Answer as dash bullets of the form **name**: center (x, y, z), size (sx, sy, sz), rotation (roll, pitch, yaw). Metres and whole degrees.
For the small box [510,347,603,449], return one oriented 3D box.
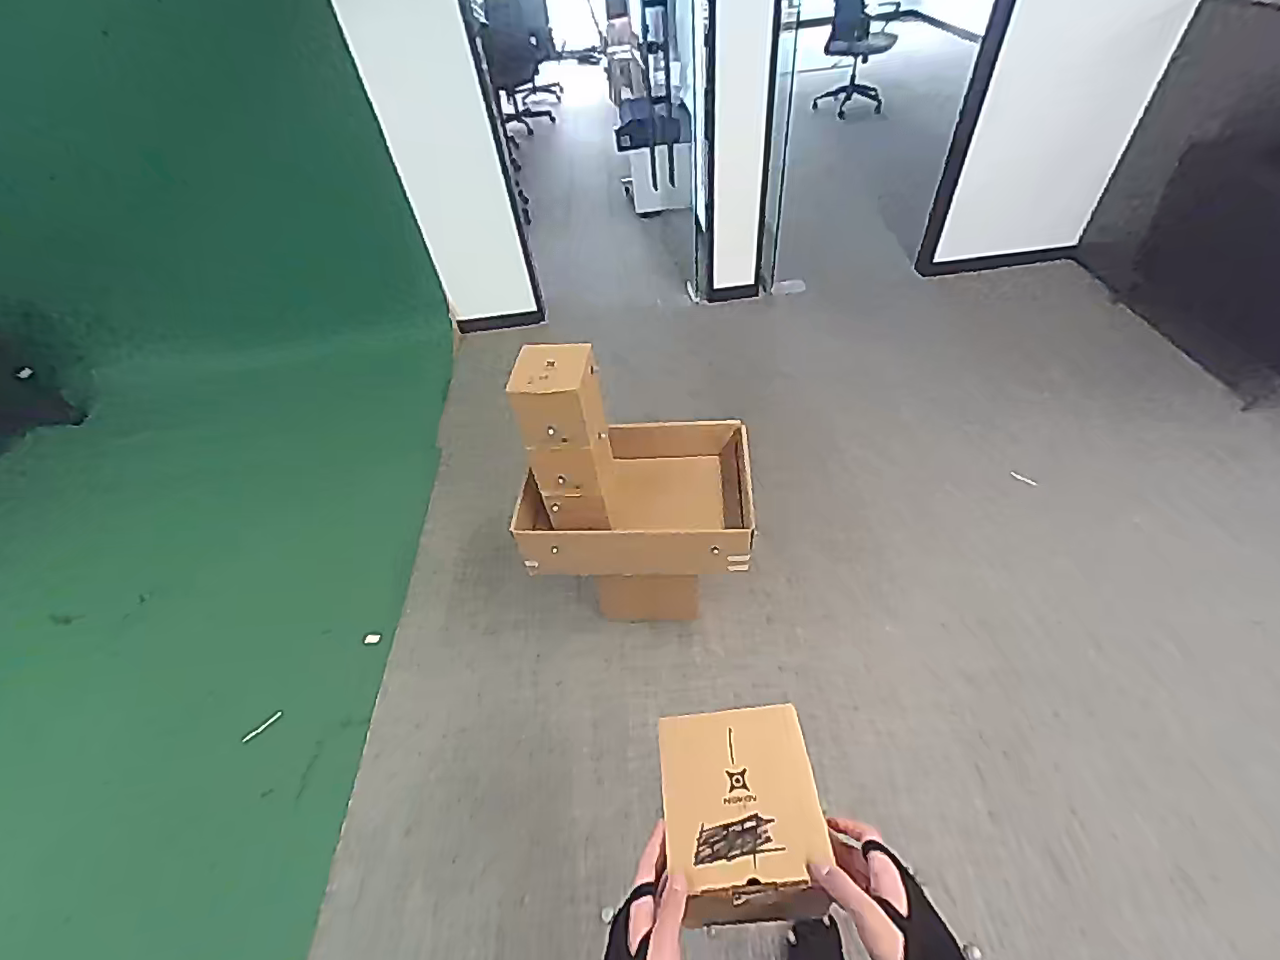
- **small box**: center (-0.186, -0.192, 1.269), size (0.168, 0.176, 0.179), rotation (1, 48, 8)

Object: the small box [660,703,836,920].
- **small box**: center (0.119, 0.390, 0.632), size (0.168, 0.176, 0.179), rotation (-8, 40, 4)

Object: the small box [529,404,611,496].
- **small box**: center (-0.170, -0.079, 1.388), size (0.168, 0.176, 0.179), rotation (0, 48, 7)
